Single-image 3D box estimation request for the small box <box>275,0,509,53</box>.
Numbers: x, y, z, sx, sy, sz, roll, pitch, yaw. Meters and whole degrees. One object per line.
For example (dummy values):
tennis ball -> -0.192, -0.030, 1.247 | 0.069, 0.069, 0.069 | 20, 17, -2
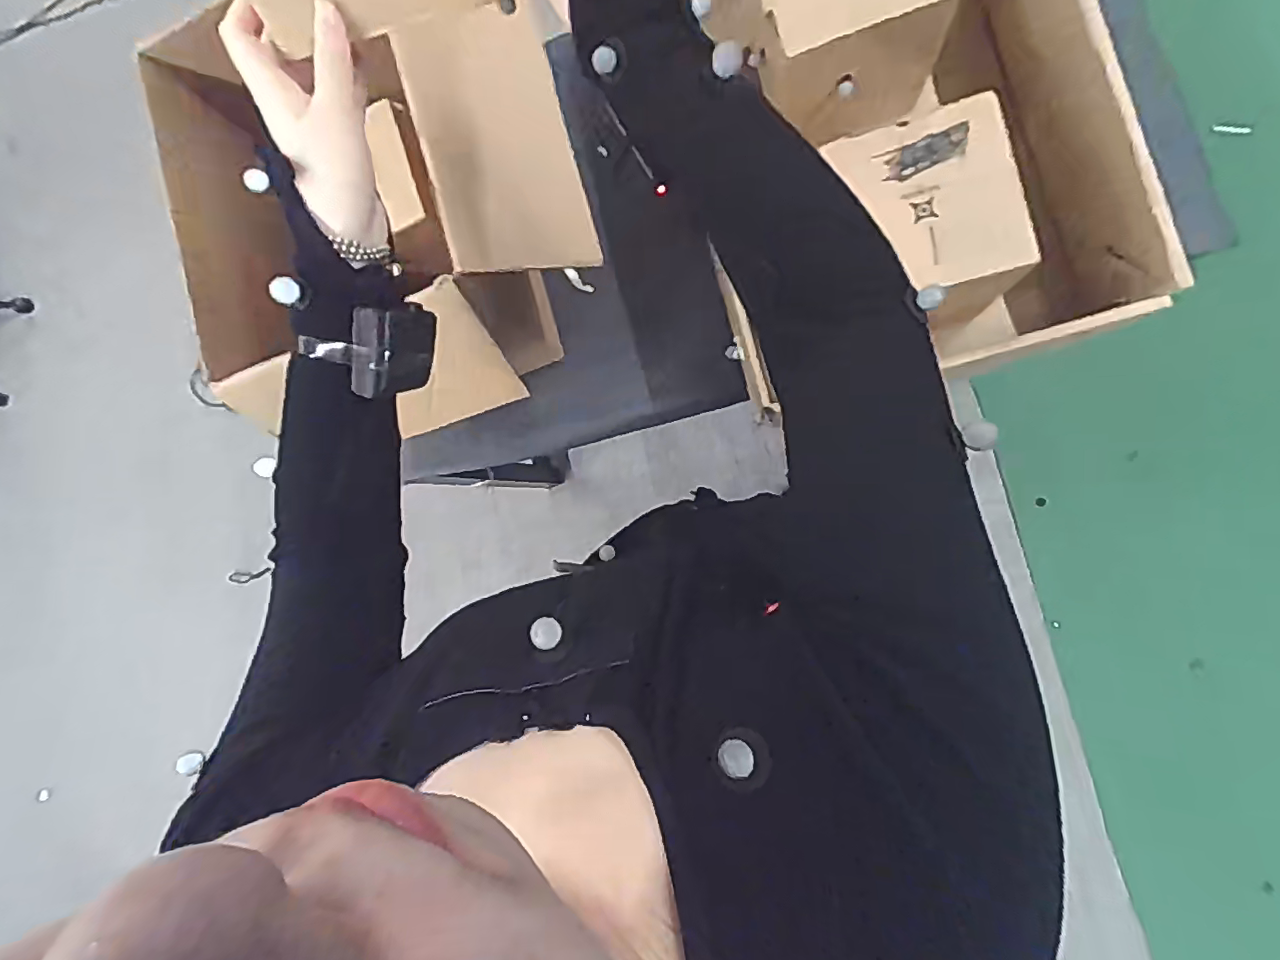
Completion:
small box -> -0.144, -0.380, 0.293 | 0.179, 0.168, 0.176 | -17, 59, 0
